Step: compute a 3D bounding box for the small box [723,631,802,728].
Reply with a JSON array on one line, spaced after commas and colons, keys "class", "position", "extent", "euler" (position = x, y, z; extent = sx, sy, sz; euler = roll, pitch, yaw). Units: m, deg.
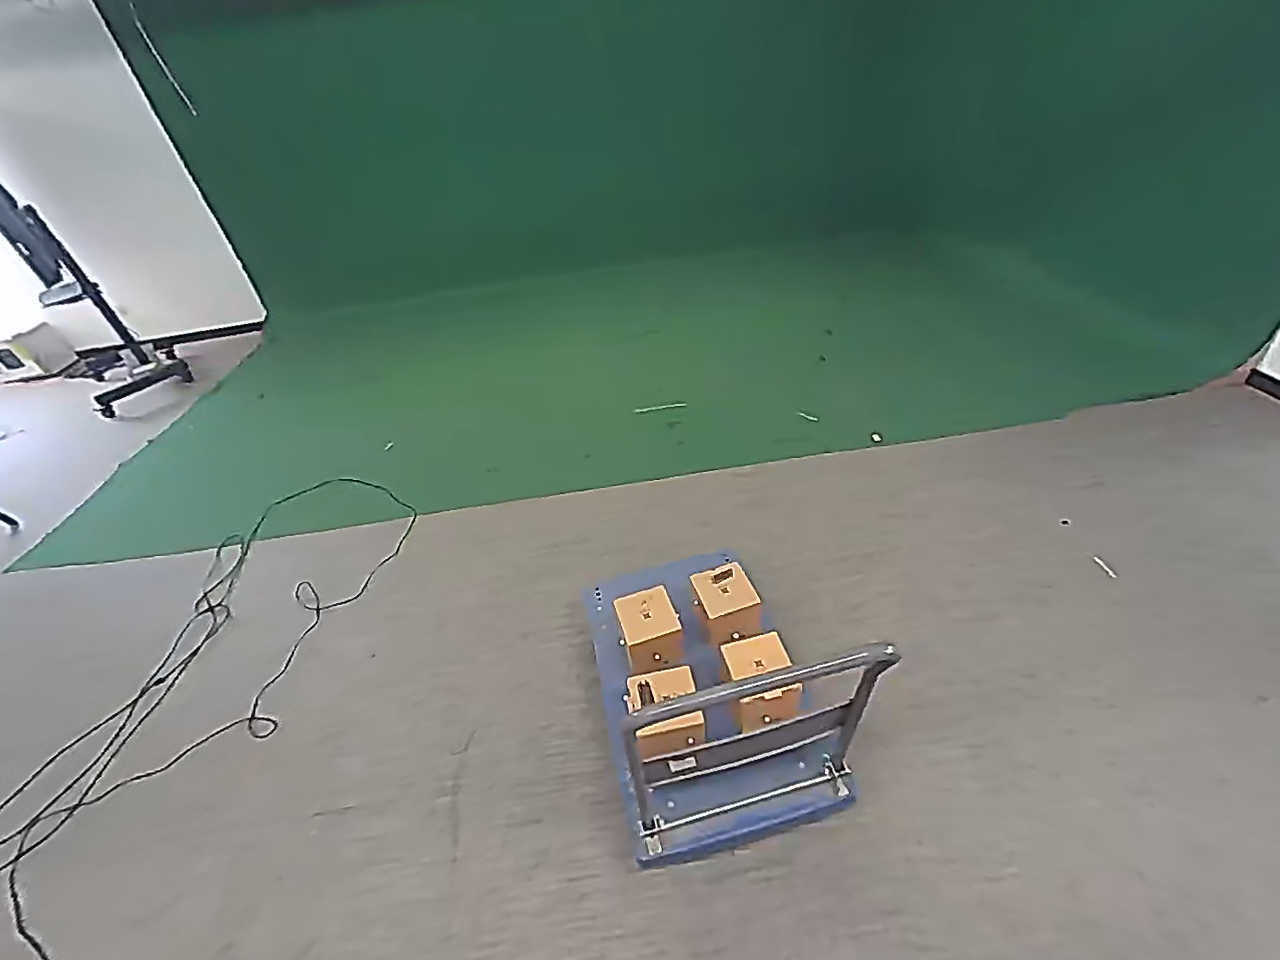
[{"class": "small box", "position": [0.334, 0.558, 1.512], "extent": [0.168, 0.176, 0.179], "euler": [-13, 40, -5]}]

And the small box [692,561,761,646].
[{"class": "small box", "position": [0.272, 0.394, 1.719], "extent": [0.168, 0.176, 0.179], "euler": [-16, 41, -8]}]

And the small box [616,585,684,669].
[{"class": "small box", "position": [0.033, 0.464, 1.681], "extent": [0.168, 0.176, 0.179], "euler": [-15, 40, -9]}]
